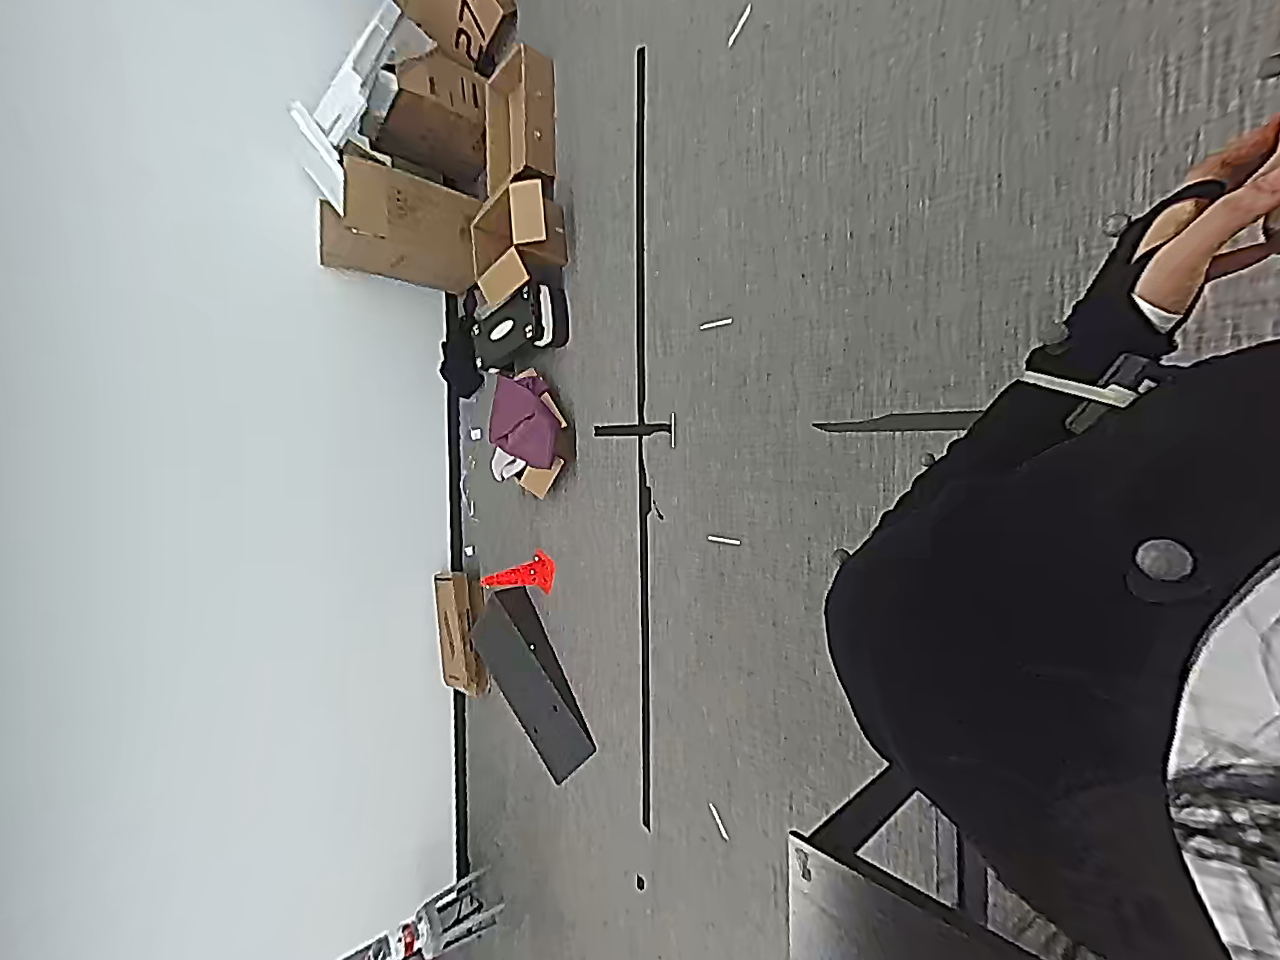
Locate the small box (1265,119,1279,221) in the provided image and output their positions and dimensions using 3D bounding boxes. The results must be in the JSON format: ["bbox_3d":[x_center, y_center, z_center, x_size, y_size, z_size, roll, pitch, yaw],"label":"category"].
[{"bbox_3d":[0.457,-0.235,0.273,0.168,0.176,0.179,12,110,49],"label":"small box"}]
